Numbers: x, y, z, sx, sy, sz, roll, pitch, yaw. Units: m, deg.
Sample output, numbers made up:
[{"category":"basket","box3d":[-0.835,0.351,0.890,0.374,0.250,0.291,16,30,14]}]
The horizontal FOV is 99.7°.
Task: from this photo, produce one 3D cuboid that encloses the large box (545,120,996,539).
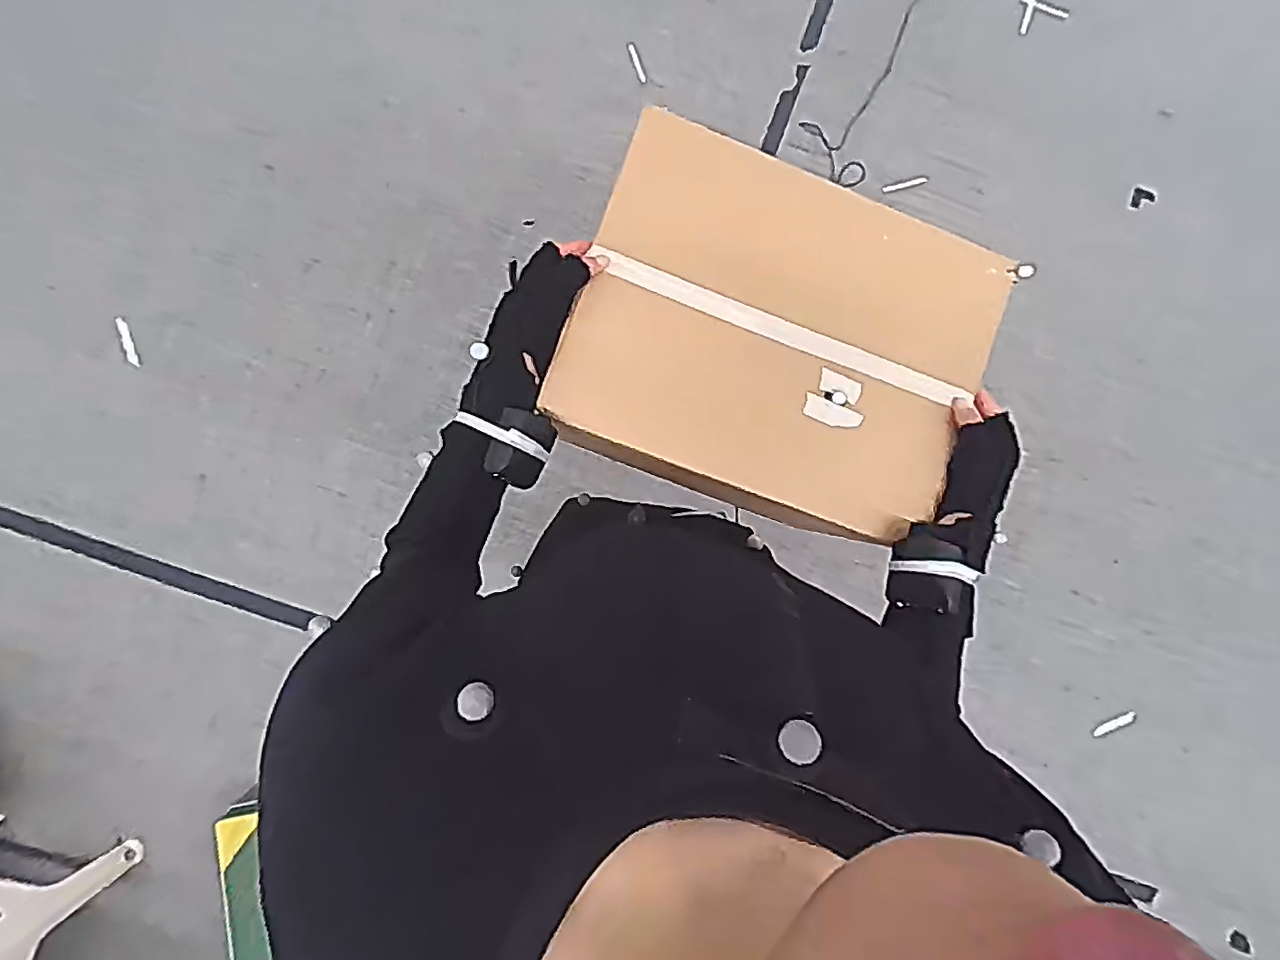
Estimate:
[{"category":"large box","box3d":[0.122,-0.145,0.687,0.408,0.320,0.320,20,89,-6]}]
